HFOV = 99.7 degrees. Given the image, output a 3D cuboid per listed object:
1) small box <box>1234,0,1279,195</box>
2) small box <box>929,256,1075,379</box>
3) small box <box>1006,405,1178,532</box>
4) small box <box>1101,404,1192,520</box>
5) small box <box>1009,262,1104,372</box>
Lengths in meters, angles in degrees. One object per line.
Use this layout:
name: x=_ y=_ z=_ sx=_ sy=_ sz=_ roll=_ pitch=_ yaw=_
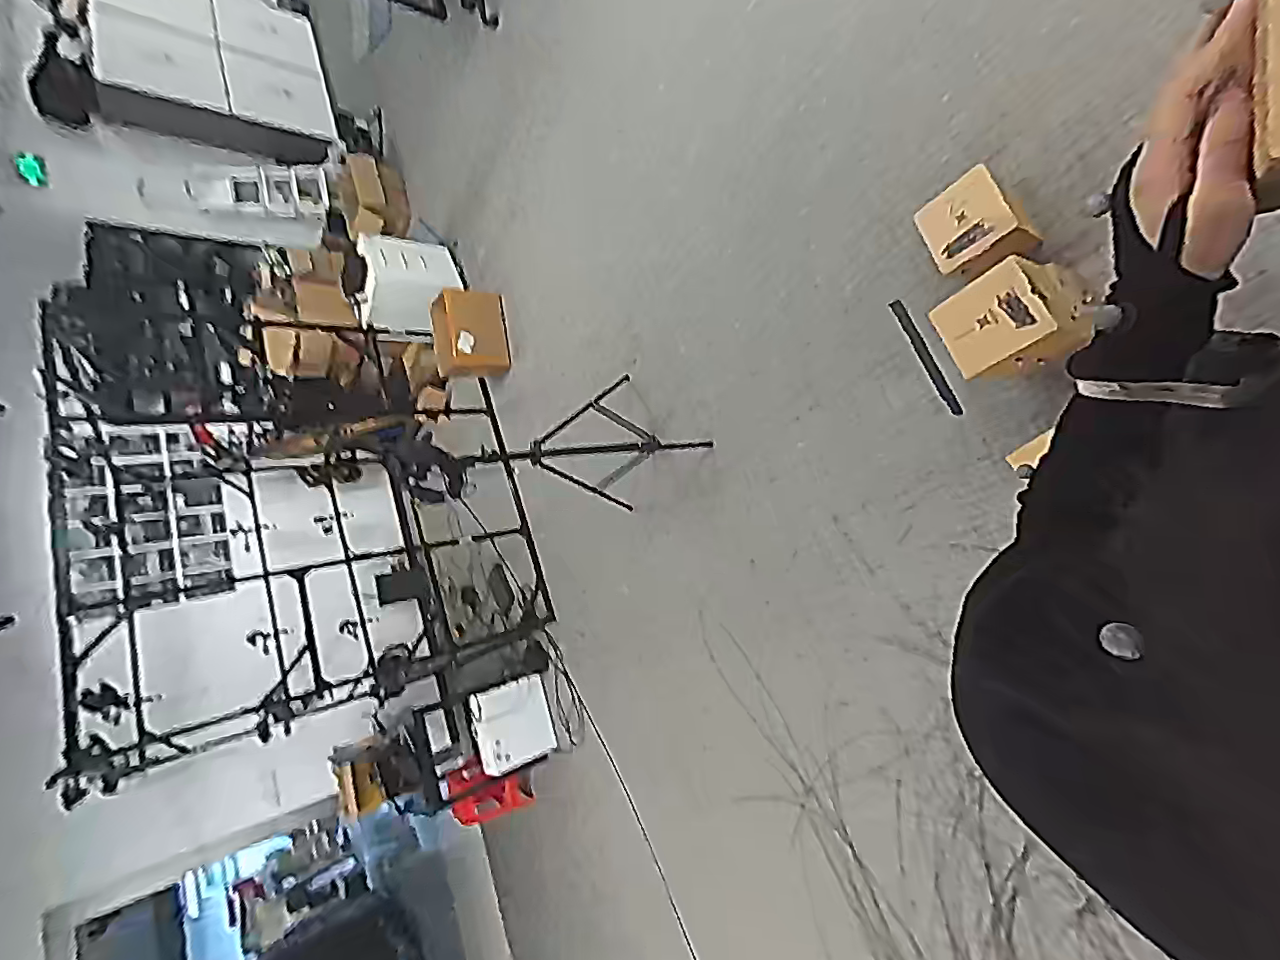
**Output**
small box: x=0.389 y=-0.247 z=0.236 sx=0.168 sy=0.176 sz=0.179 roll=-2 pitch=98 yaw=45
small box: x=0.735 y=-0.320 z=1.090 sx=0.179 sy=0.176 sz=0.168 roll=-38 pitch=67 yaw=48
small box: x=0.845 y=-0.026 z=1.011 sx=0.168 sy=0.176 sz=0.179 roll=-49 pitch=58 yaw=42
small box: x=0.972 y=-0.042 z=1.111 sx=0.168 sy=0.176 sz=0.179 roll=-51 pitch=58 yaw=42
small box: x=0.866 y=-0.345 z=1.187 sx=0.179 sy=0.176 sz=0.168 roll=-32 pitch=72 yaw=48
